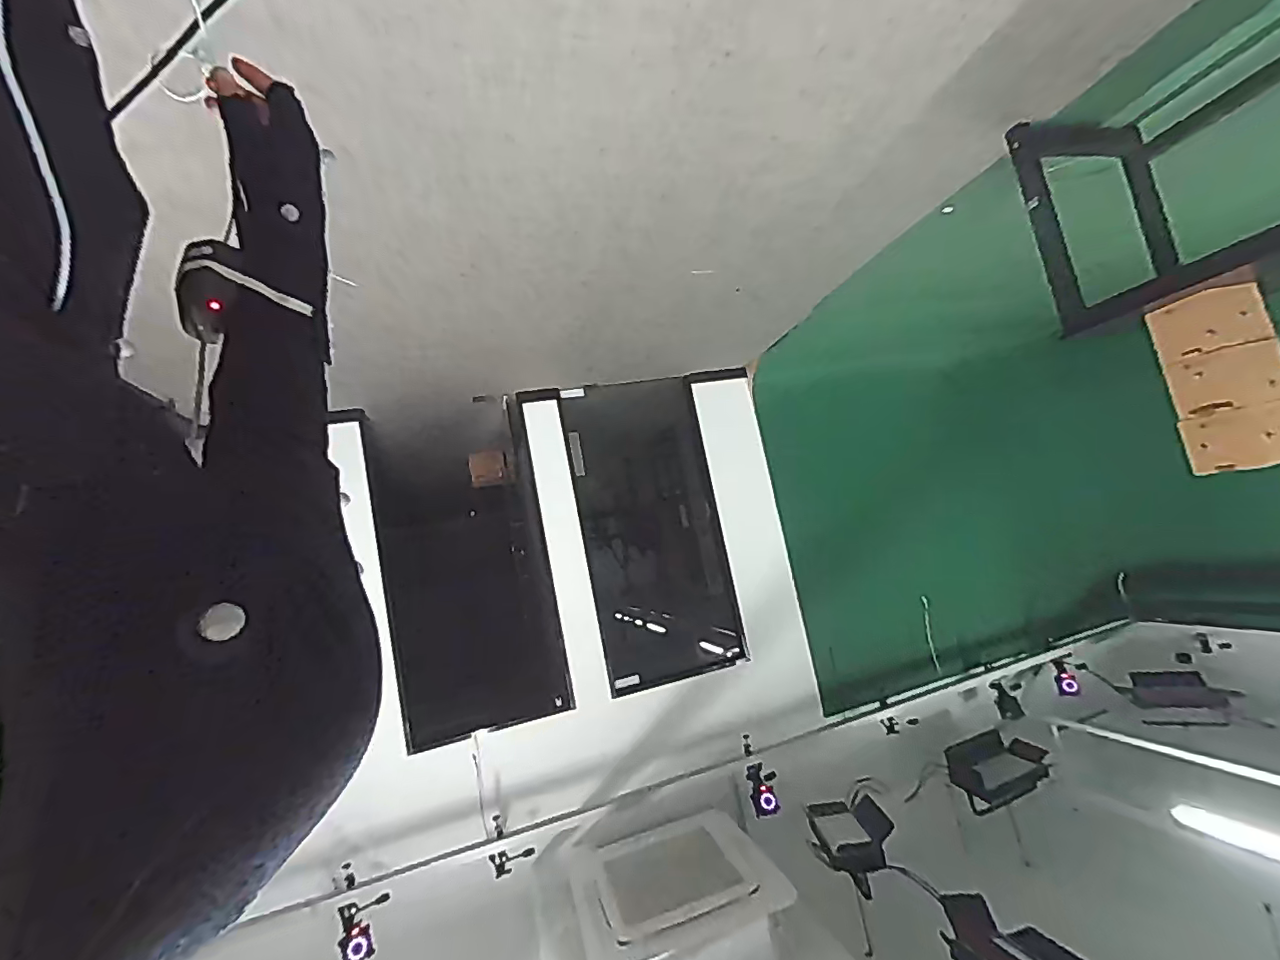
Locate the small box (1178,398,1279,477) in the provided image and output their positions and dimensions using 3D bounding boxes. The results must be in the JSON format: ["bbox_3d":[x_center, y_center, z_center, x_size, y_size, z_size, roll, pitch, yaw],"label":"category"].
[{"bbox_3d":[1.680,-0.117,1.513,0.179,0.176,0.168,-12,174,-10],"label":"small box"}]

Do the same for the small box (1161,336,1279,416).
[{"bbox_3d":[1.644,-0.293,1.525,0.179,0.176,0.168,-11,174,-10],"label":"small box"}]
